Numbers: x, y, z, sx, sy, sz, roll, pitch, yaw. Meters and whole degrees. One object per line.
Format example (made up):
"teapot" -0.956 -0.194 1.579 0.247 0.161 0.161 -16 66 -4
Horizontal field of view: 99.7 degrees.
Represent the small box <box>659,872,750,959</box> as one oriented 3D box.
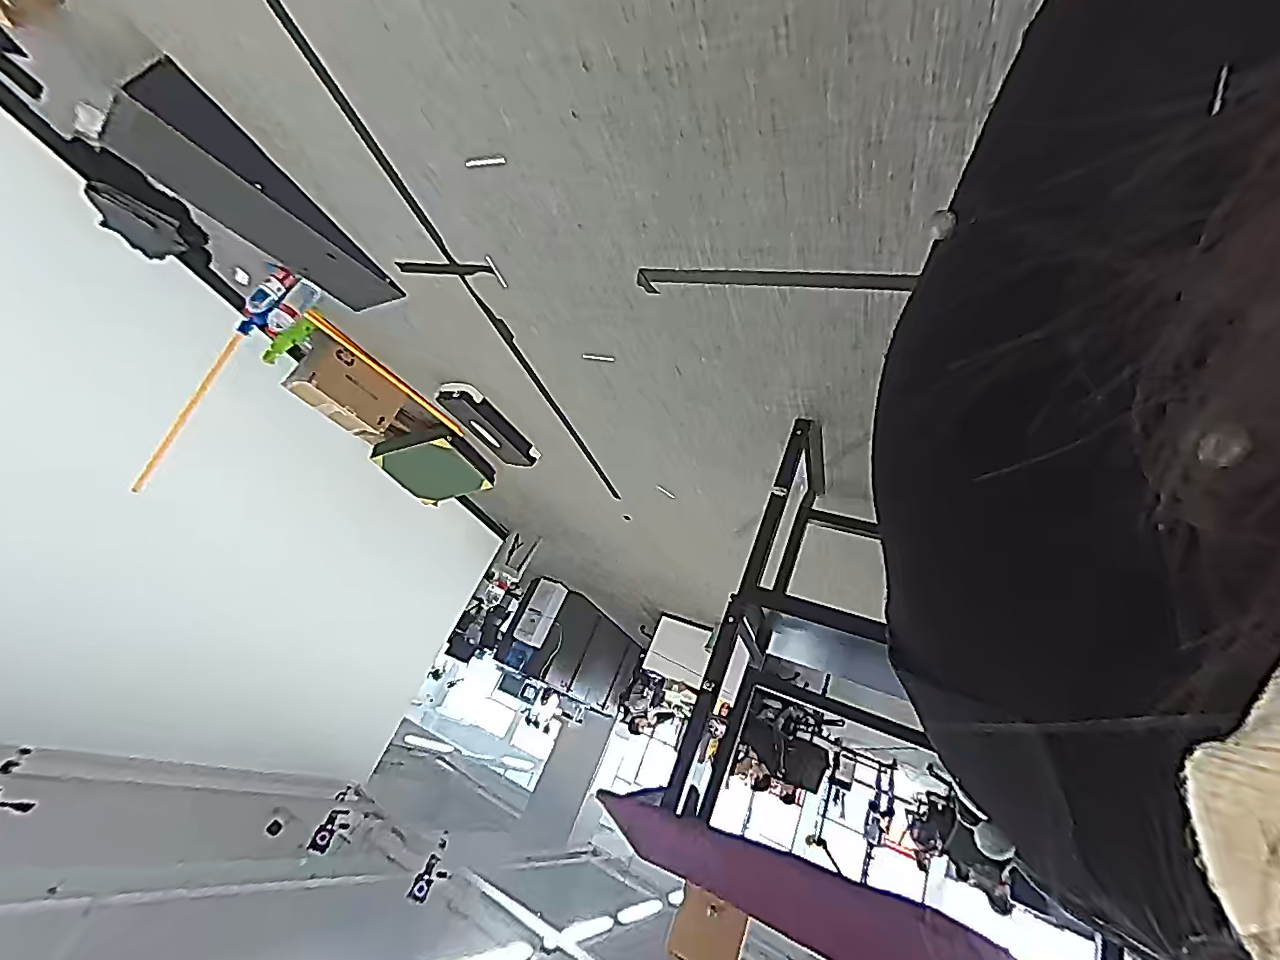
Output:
"small box" 0.173 1.157 1.405 0.179 0.176 0.168 15 156 23
